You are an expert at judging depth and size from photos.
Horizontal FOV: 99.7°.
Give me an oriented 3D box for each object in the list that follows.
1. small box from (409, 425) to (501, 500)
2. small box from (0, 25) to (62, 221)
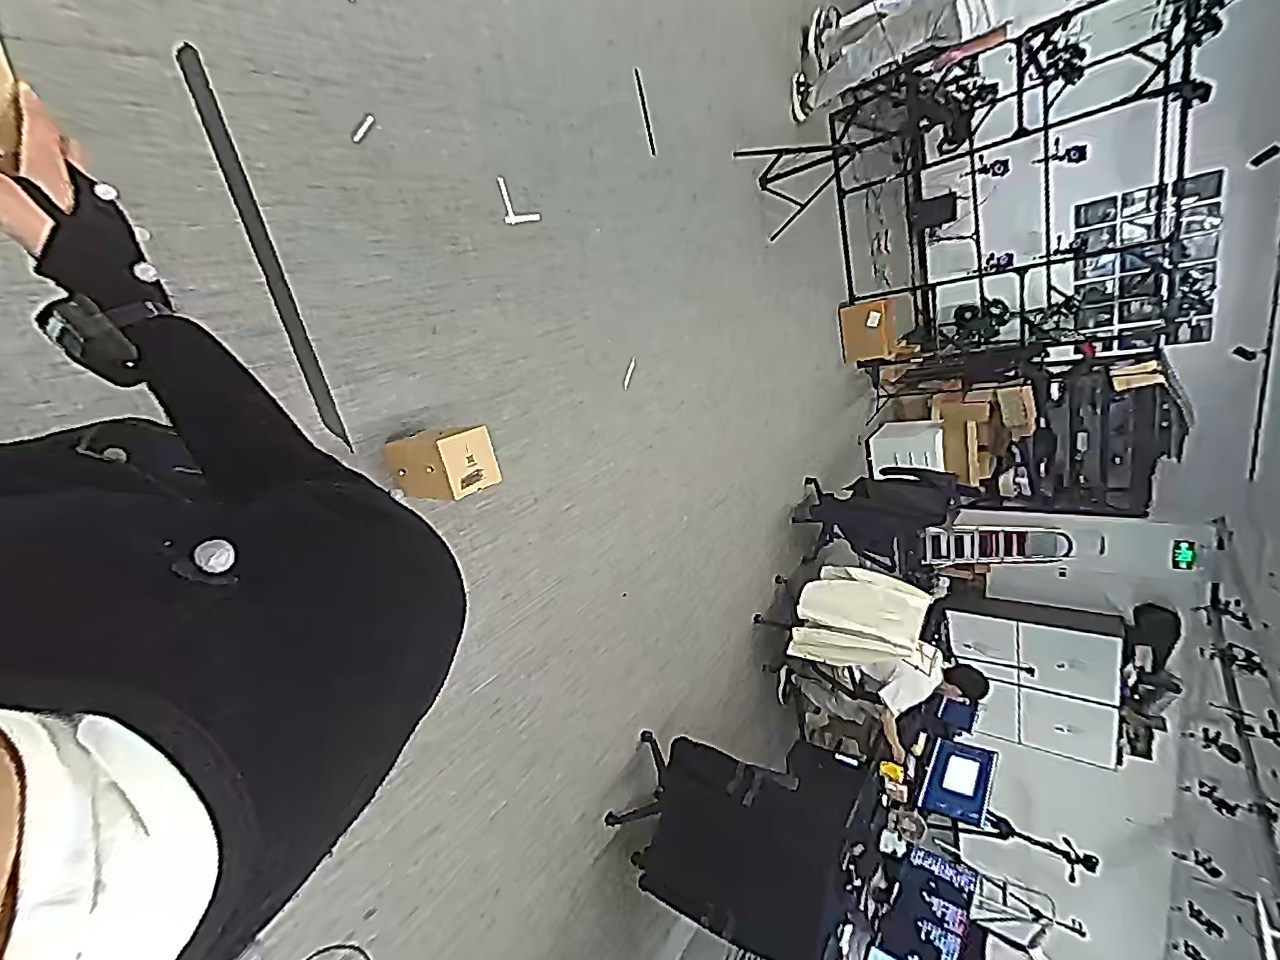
[{"bbox_3d":[-0.539,-0.054,1.576,0.168,0.176,0.179,-30,112,-46],"label":"small box"},{"bbox_3d":[-0.592,-0.287,0.391,0.179,0.176,0.168,-32,134,-52],"label":"small box"}]
